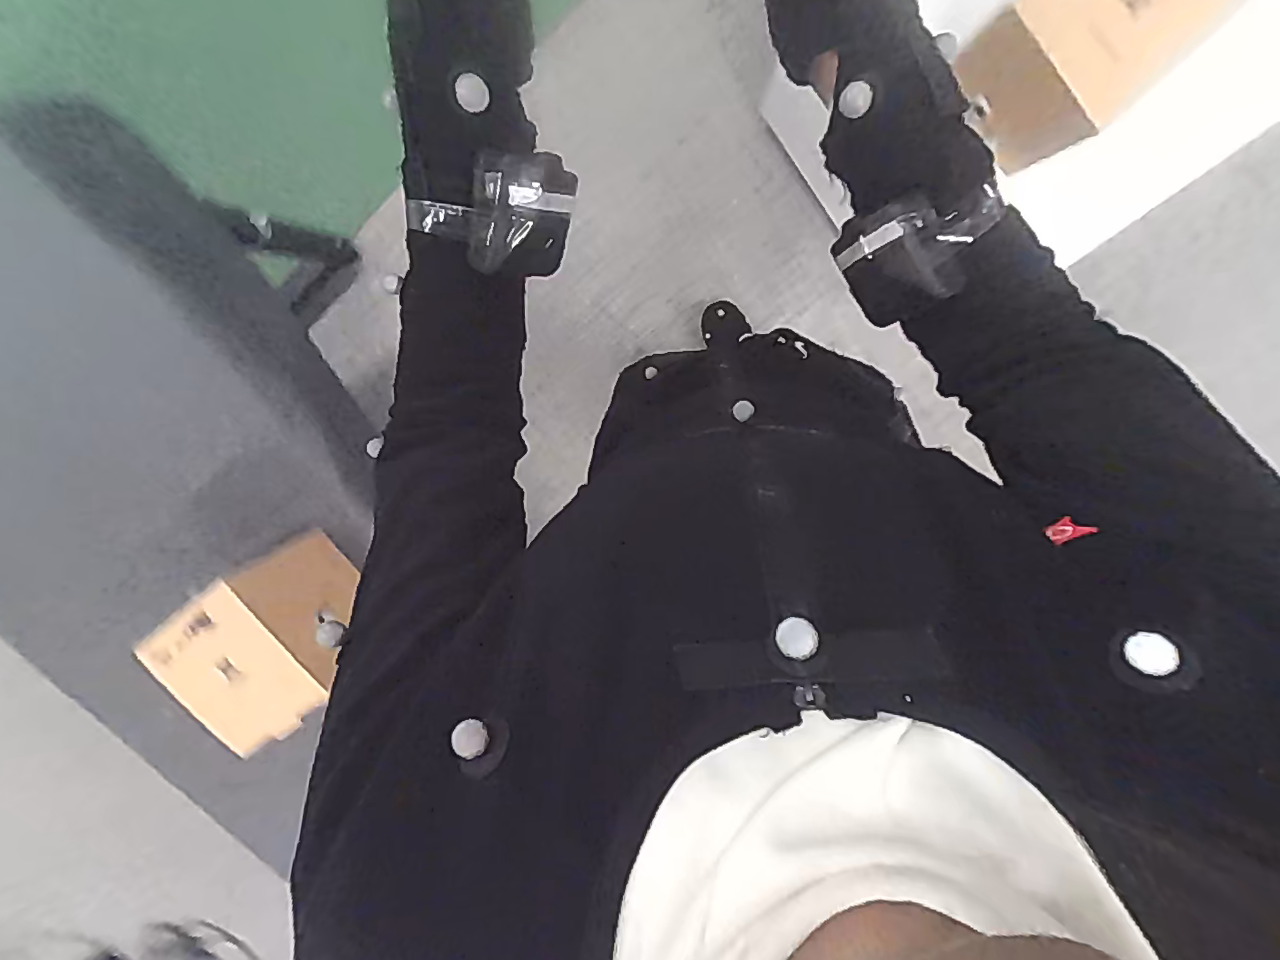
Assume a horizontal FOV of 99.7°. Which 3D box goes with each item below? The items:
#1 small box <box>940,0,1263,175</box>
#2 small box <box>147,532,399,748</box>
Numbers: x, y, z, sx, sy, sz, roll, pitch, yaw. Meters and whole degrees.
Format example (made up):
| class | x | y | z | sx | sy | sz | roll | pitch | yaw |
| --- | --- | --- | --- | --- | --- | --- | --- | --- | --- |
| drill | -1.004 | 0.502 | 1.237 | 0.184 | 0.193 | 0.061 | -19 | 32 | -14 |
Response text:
| class | x | y | z | sx | sy | sz | roll | pitch | yaw |
| --- | --- | --- | --- | --- | --- | --- | --- | --- | --- |
| small box | 0.471 | -0.473 | 0.579 | 0.179 | 0.176 | 0.168 | -42 | 97 | 15 |
| small box | -0.459 | 0.199 | 0.708 | 0.168 | 0.176 | 0.179 | -35 | 100 | 14 |
